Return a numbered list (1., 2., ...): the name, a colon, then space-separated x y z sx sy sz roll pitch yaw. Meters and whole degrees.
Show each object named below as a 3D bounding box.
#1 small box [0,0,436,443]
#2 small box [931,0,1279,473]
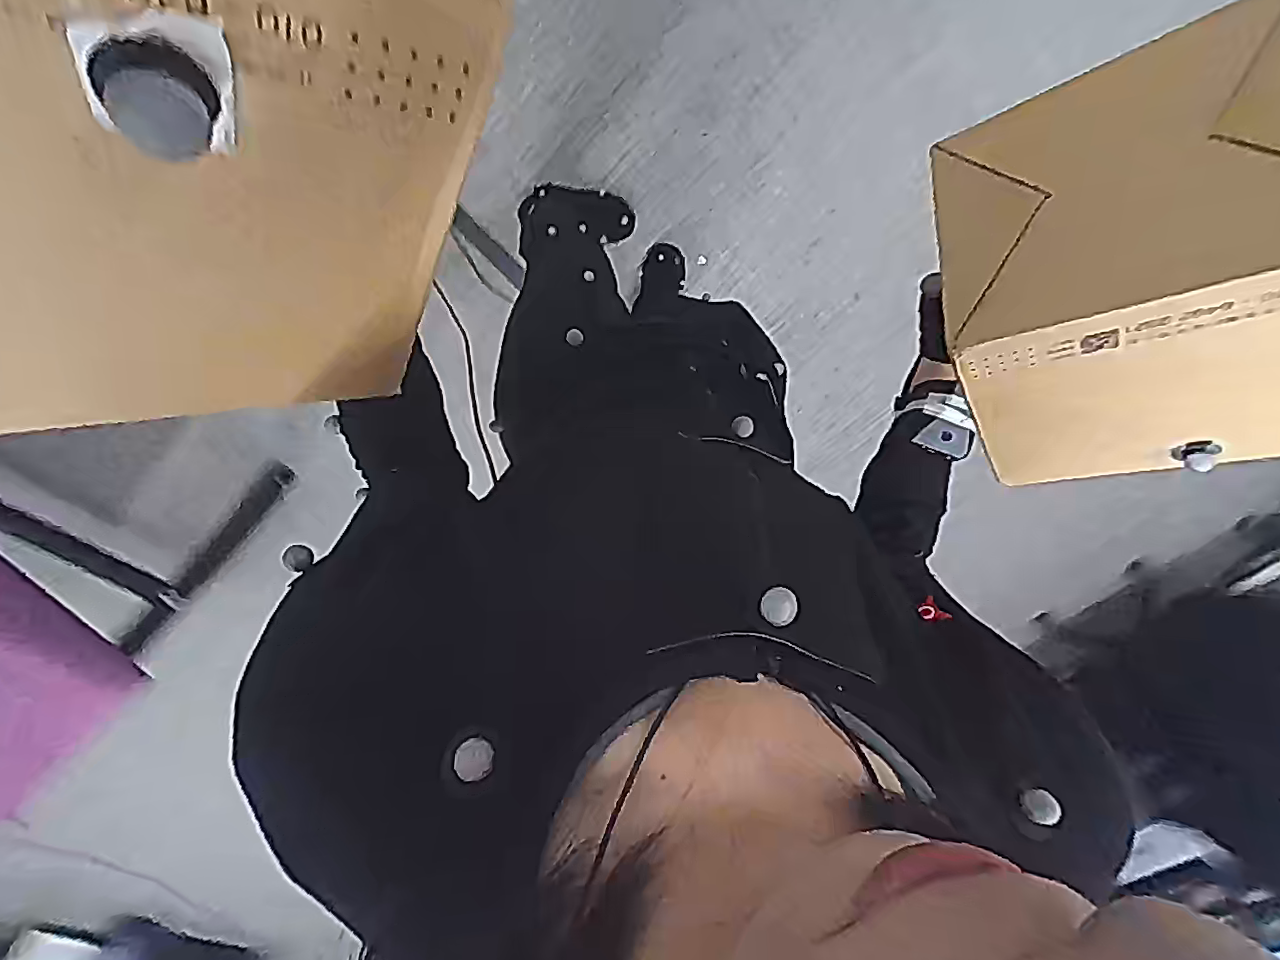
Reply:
1. small box: -0.173 -0.131 0.153 0.168 0.179 0.176 -17 162 -37
2. small box: 0.283 -0.128 0.312 0.168 0.179 0.176 -13 147 40
